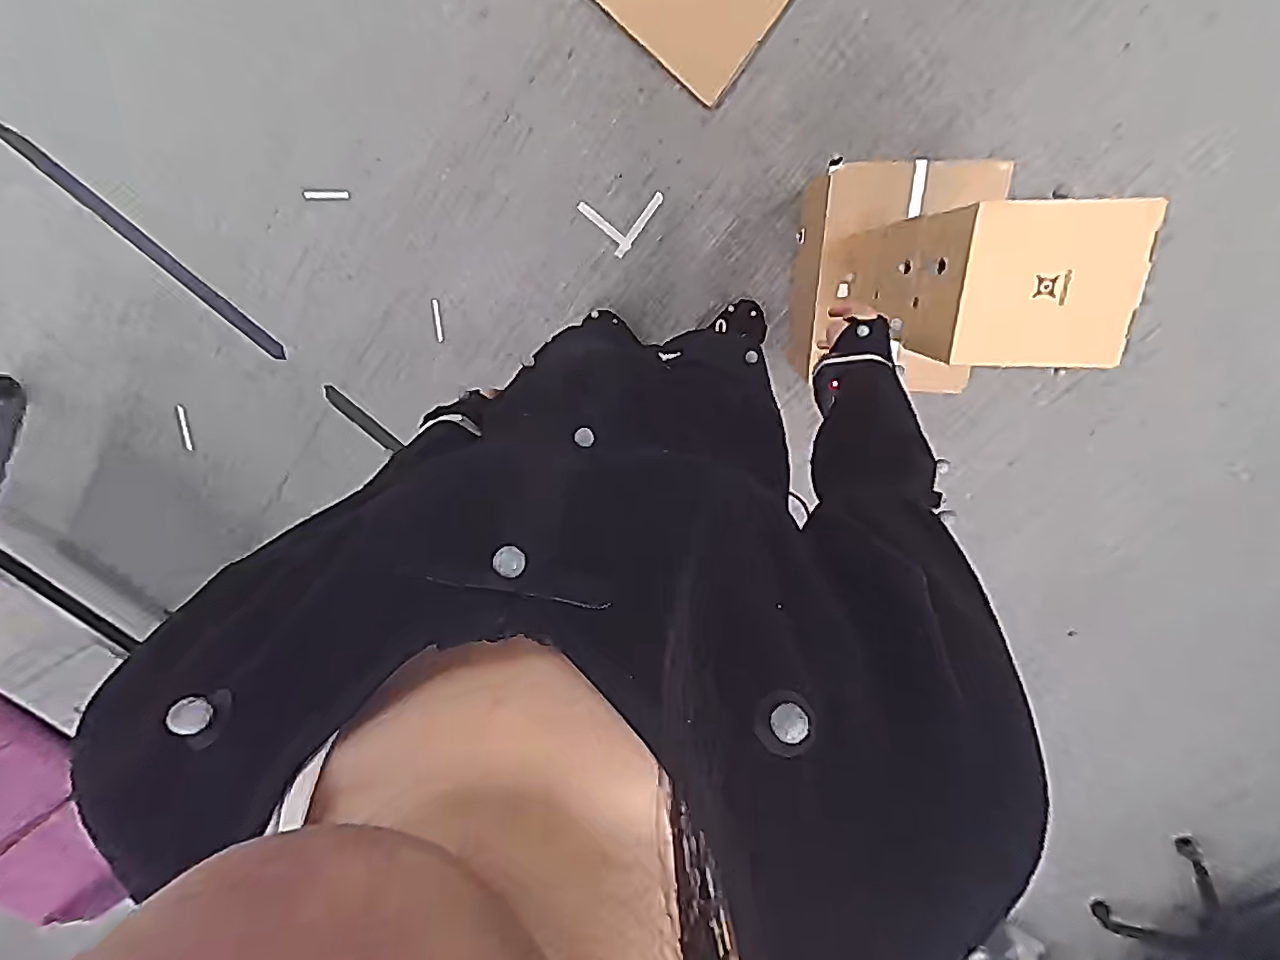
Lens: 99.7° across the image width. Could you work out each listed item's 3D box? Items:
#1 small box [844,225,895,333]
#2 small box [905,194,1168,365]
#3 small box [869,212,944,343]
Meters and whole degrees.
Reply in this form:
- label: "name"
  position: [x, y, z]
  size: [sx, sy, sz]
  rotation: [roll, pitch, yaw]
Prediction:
- label: "small box"
  position: [0.471, -0.346, 0.935]
  size: [0.179, 0.176, 0.168]
  rotation: [2, 110, 7]
- label: "small box"
  position: [0.434, -0.229, 0.632]
  size: [0.179, 0.176, 0.168]
  rotation: [2, 110, 6]
- label: "small box"
  position: [0.455, -0.289, 0.782]
  size: [0.179, 0.176, 0.168]
  rotation: [2, 110, 6]
